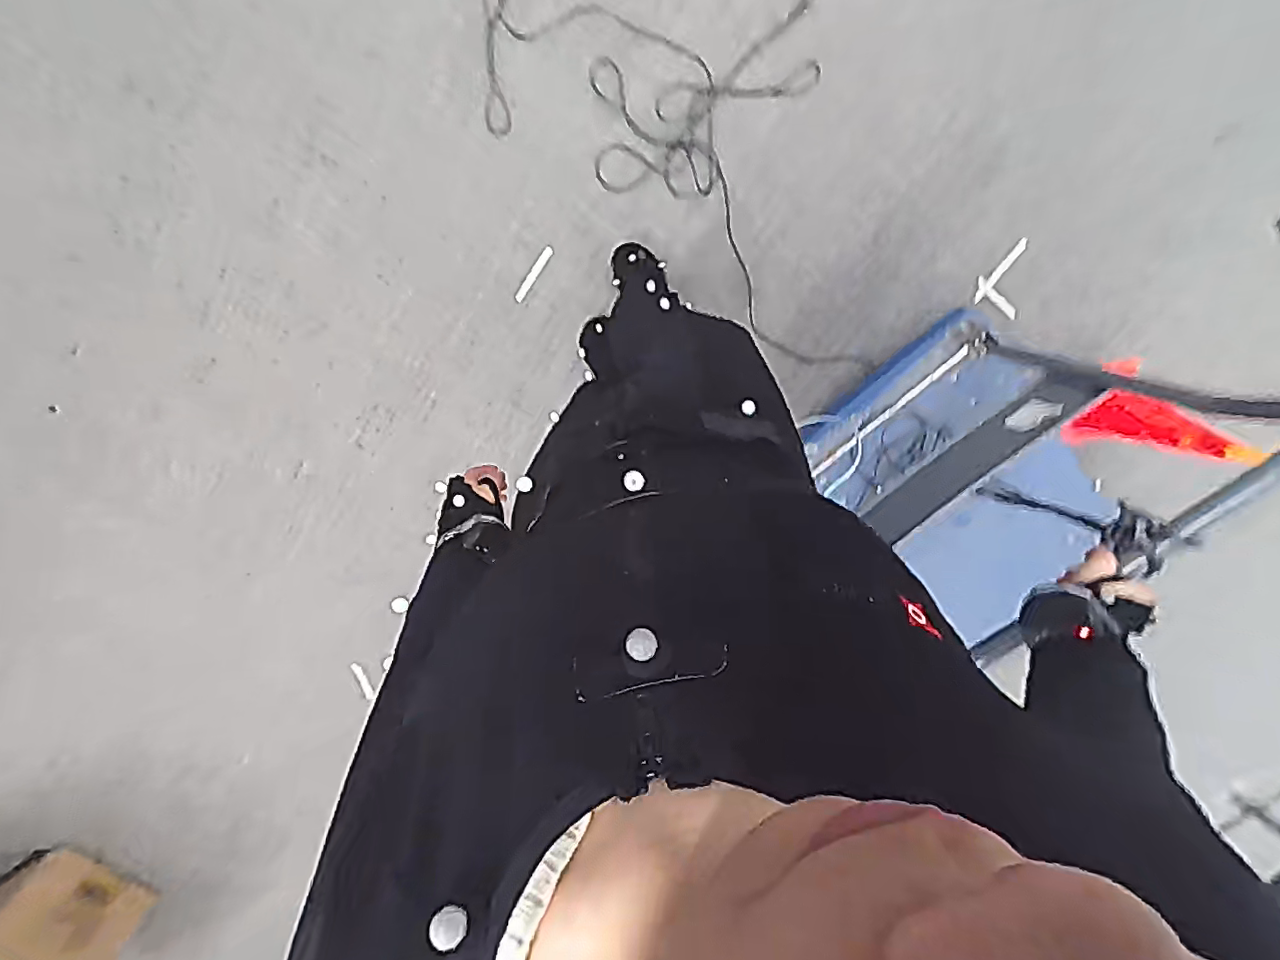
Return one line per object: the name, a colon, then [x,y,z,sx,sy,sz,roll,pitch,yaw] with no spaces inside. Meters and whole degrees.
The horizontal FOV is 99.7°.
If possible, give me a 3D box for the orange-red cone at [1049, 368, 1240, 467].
orange-red cone: [1.173,-0.113,1.237,0.198,0.360,0.199,-8,115,1]
